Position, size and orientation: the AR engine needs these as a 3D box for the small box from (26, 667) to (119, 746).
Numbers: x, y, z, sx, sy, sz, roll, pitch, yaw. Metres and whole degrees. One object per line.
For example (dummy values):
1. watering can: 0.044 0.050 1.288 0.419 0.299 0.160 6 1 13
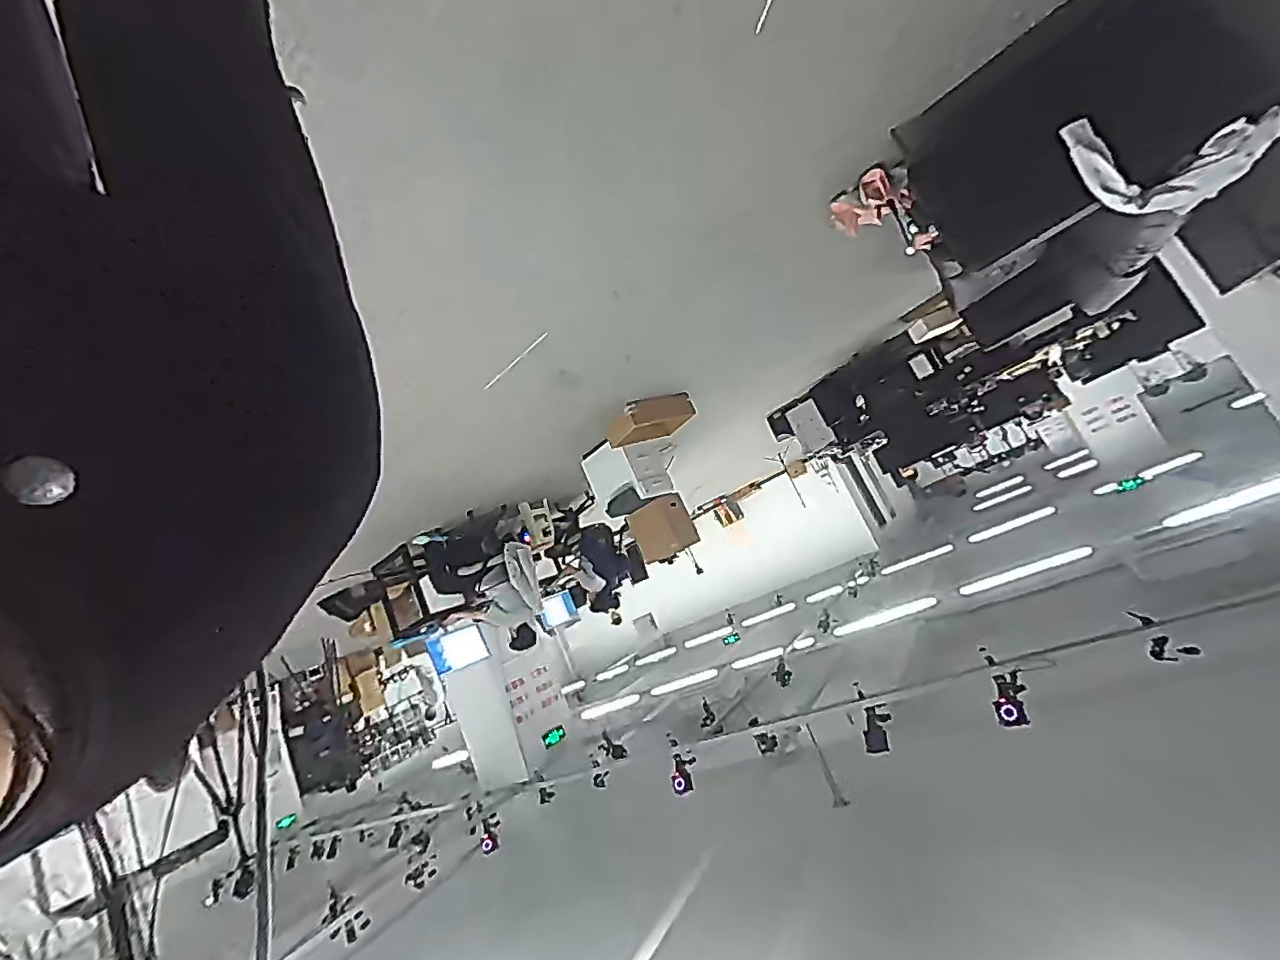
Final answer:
1. small box: -1.900 0.754 1.807 0.168 0.176 0.179 -30 169 29
